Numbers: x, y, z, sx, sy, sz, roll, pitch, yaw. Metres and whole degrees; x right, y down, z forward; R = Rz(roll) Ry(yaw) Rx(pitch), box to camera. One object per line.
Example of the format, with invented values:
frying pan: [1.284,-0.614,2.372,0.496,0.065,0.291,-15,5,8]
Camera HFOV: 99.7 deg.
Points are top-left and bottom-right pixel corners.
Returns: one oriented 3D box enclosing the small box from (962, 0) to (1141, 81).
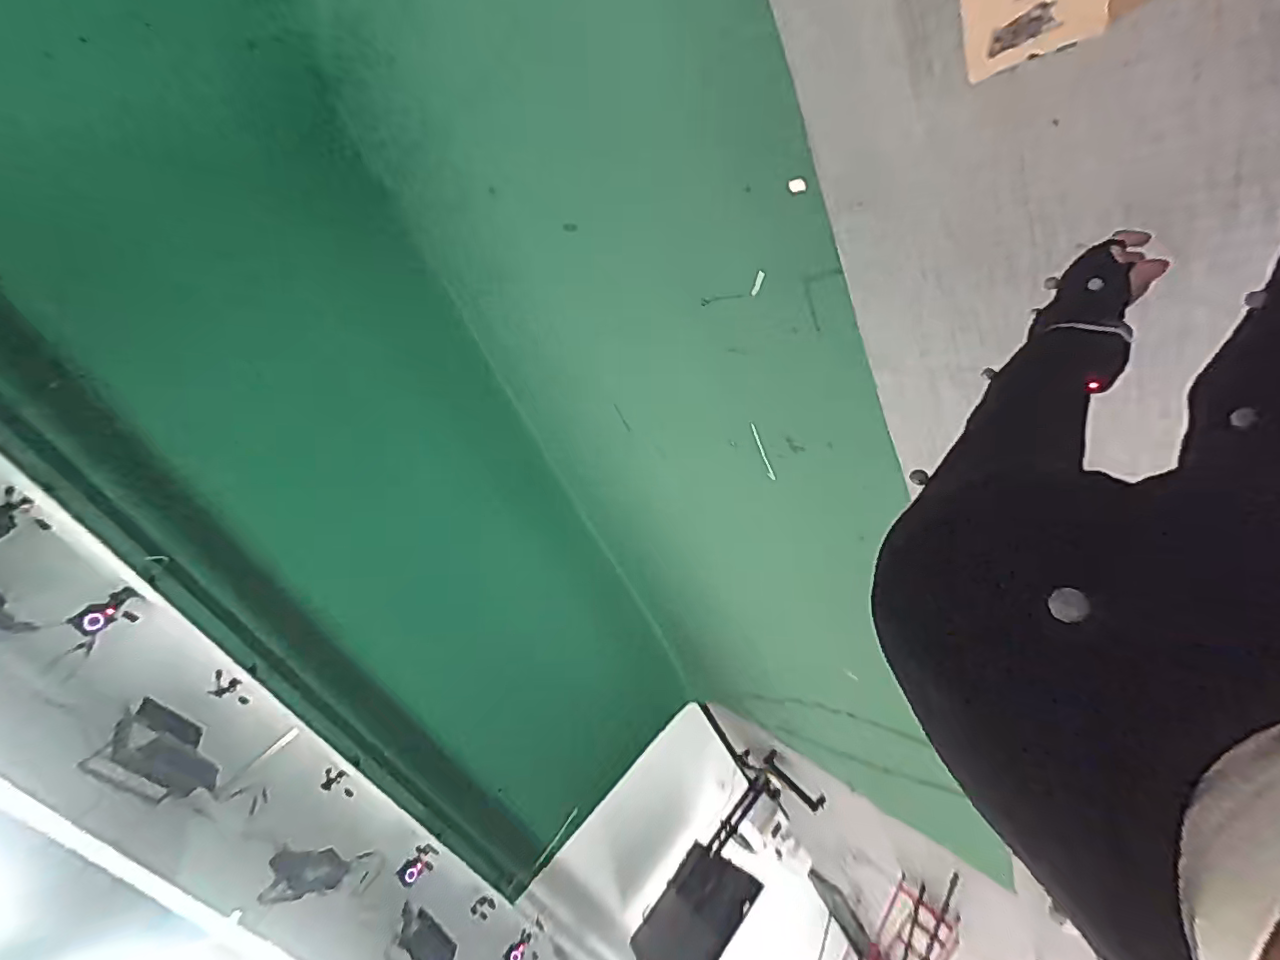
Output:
small box: [0.563,-0.695,0.735,0.168,0.176,0.179,16,139,51]
